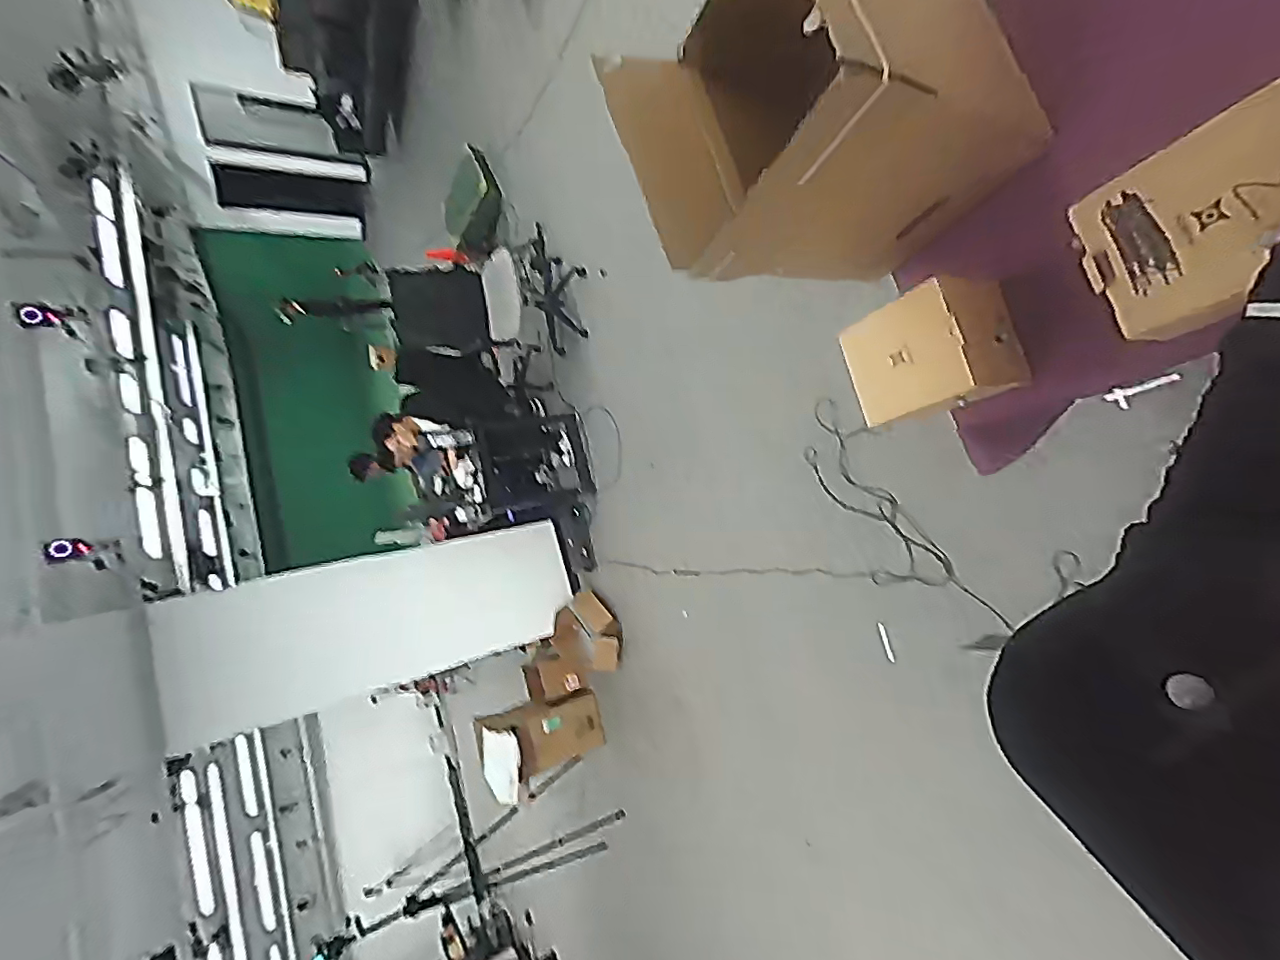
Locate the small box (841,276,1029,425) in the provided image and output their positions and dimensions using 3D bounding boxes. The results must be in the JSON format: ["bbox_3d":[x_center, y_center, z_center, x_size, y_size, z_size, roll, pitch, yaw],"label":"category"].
[{"bbox_3d":[0.457,-0.195,0.847,0.179,0.176,0.168,-28,75,57],"label":"small box"}]
